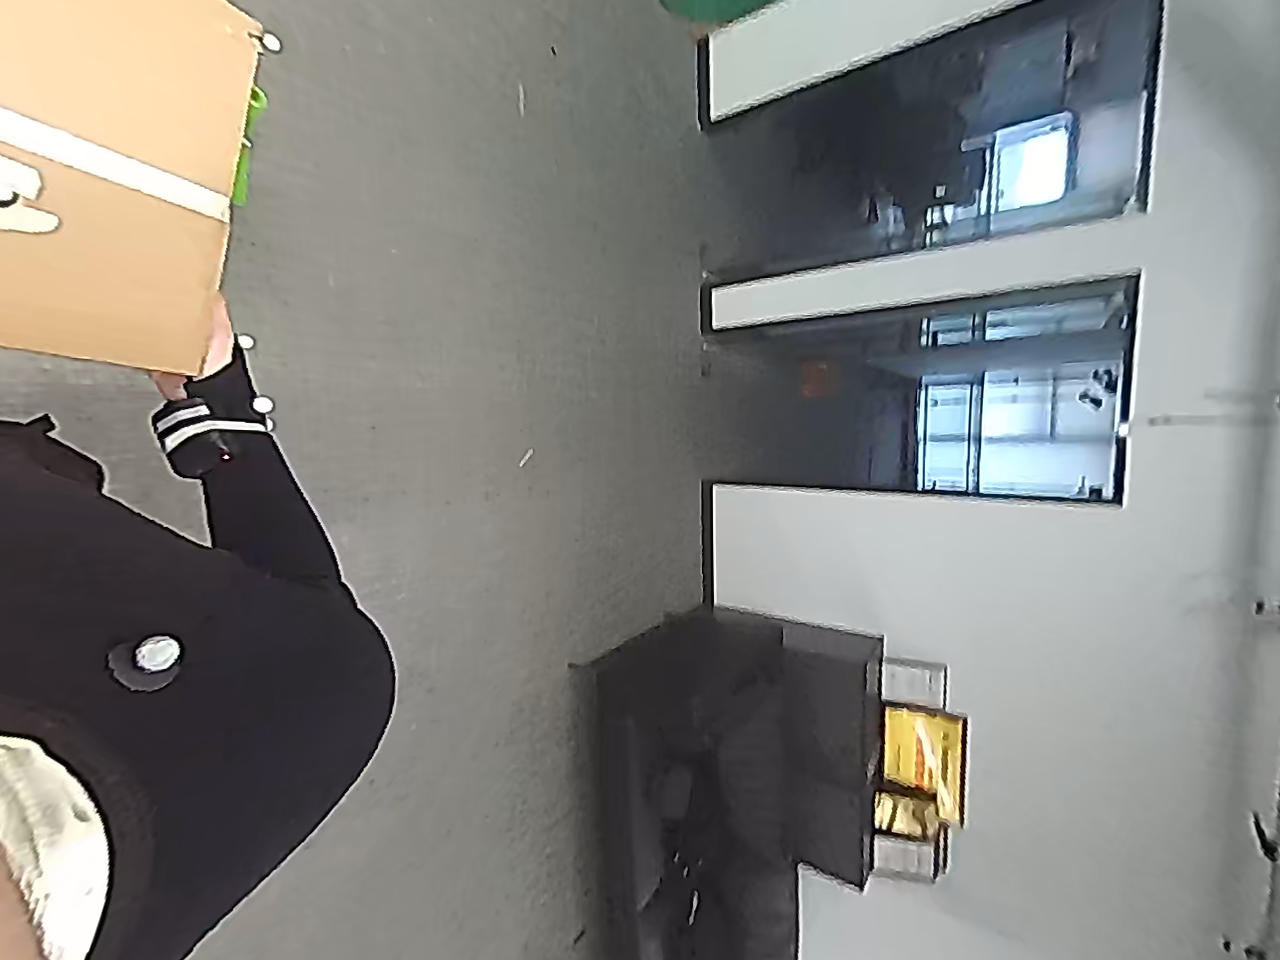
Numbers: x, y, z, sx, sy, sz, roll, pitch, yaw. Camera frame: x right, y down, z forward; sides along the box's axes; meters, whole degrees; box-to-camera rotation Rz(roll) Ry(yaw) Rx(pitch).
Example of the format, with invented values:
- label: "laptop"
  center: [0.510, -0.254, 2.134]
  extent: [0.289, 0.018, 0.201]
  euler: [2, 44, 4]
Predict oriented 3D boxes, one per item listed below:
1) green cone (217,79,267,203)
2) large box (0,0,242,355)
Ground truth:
- label: "green cone"
  center: [-0.936, -0.806, 1.222]
  extent: [0.200, 0.368, 0.202]
  euler: [1, 90, -55]
- label: "large box"
  center: [-0.604, -0.309, 0.387]
  extent: [0.408, 0.320, 0.320]
  euler: [-1, 112, -60]
